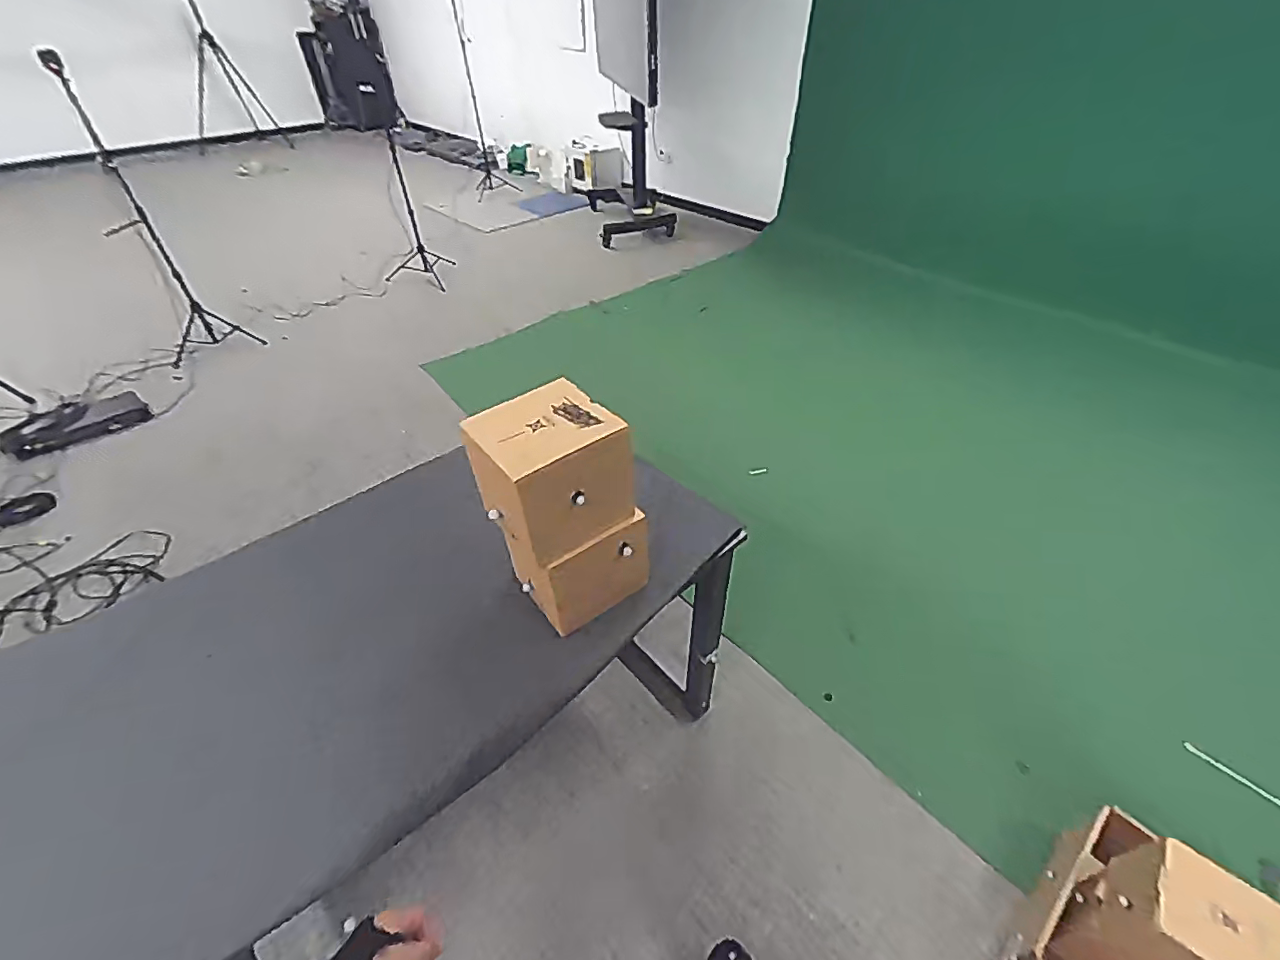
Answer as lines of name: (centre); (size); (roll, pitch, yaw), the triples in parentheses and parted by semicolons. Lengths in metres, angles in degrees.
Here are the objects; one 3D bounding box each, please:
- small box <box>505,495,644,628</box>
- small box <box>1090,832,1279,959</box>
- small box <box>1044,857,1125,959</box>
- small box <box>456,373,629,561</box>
small box: (-0.109, 0.101, 0.877); (0.179, 0.176, 0.168); (-28, 47, -26)
small box: (0.927, 0.761, 0.929); (0.179, 0.176, 0.168); (32, 53, 27)
small box: (0.931, 0.883, 1.039); (0.168, 0.176, 0.179); (-30, 50, -27)
small box: (-0.130, -0.021, 0.769); (0.179, 0.176, 0.168); (-29, 48, -26)
